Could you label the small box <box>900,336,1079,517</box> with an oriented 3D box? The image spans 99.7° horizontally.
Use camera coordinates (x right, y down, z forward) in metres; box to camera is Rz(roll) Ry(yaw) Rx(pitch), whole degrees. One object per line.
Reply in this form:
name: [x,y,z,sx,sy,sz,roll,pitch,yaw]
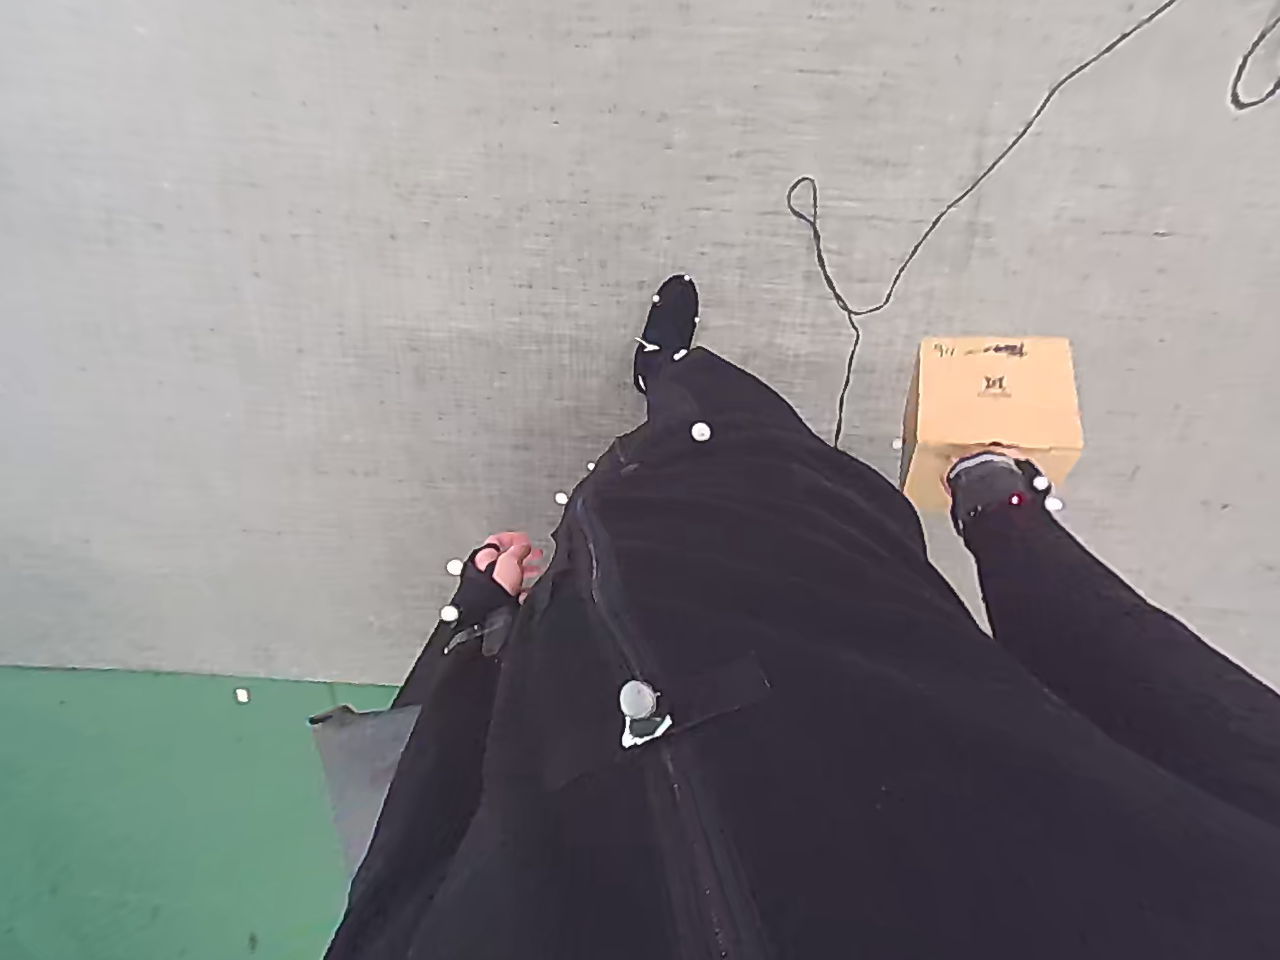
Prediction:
small box: [0.448,-0.069,0.717,0.168,0.179,0.176,7,150,22]
